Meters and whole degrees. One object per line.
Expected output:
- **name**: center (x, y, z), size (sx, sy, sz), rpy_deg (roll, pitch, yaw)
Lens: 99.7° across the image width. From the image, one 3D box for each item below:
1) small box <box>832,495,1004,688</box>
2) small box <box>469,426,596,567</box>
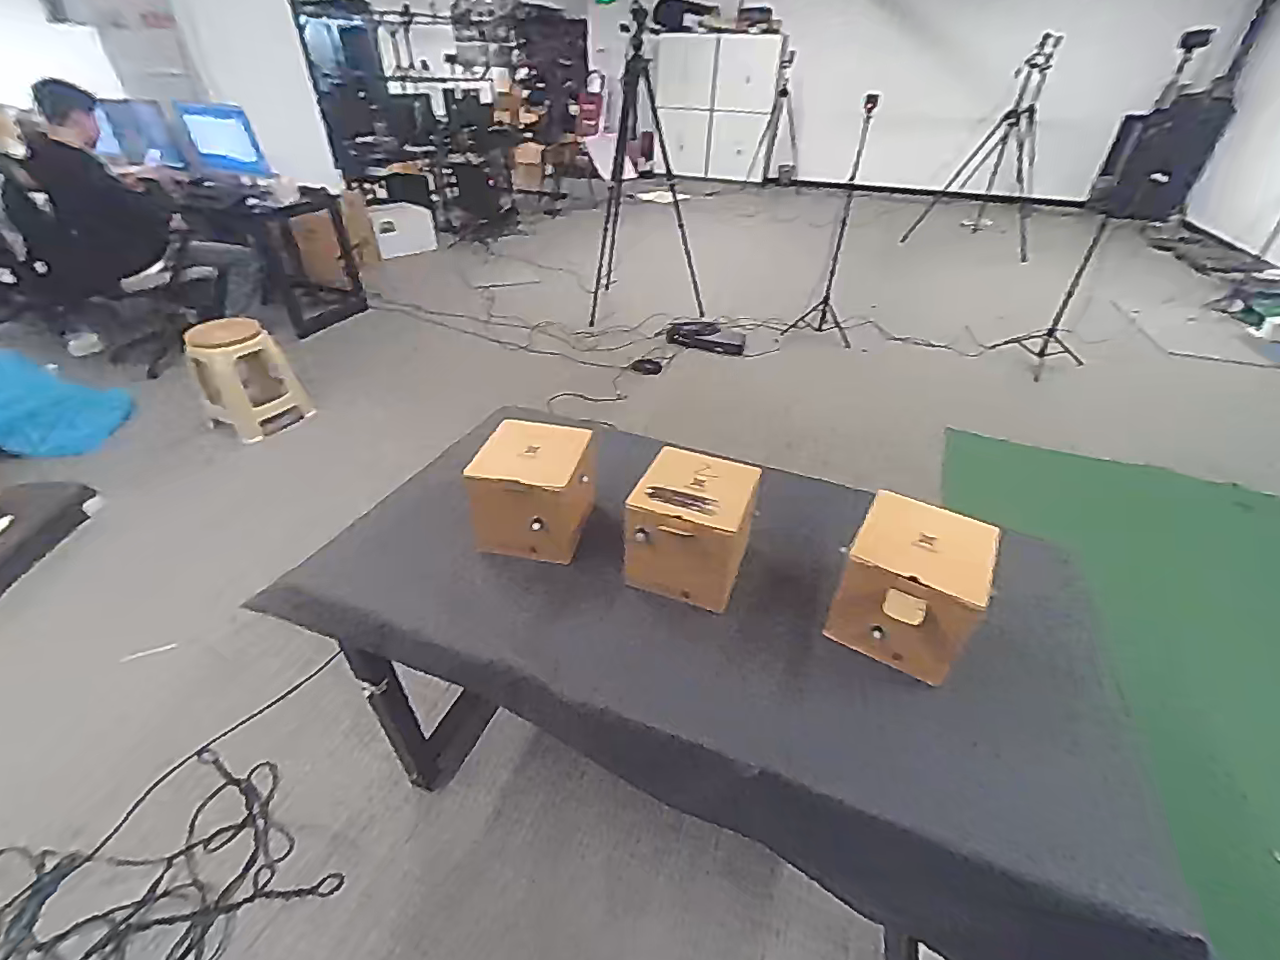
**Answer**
- **small box**: center (0.395, 0.156, 0.781), size (0.168, 0.176, 0.179), rpy_deg (22, 42, 25)
- **small box**: center (-0.173, 0.028, 0.940), size (0.168, 0.176, 0.179), rpy_deg (8, 36, 7)
